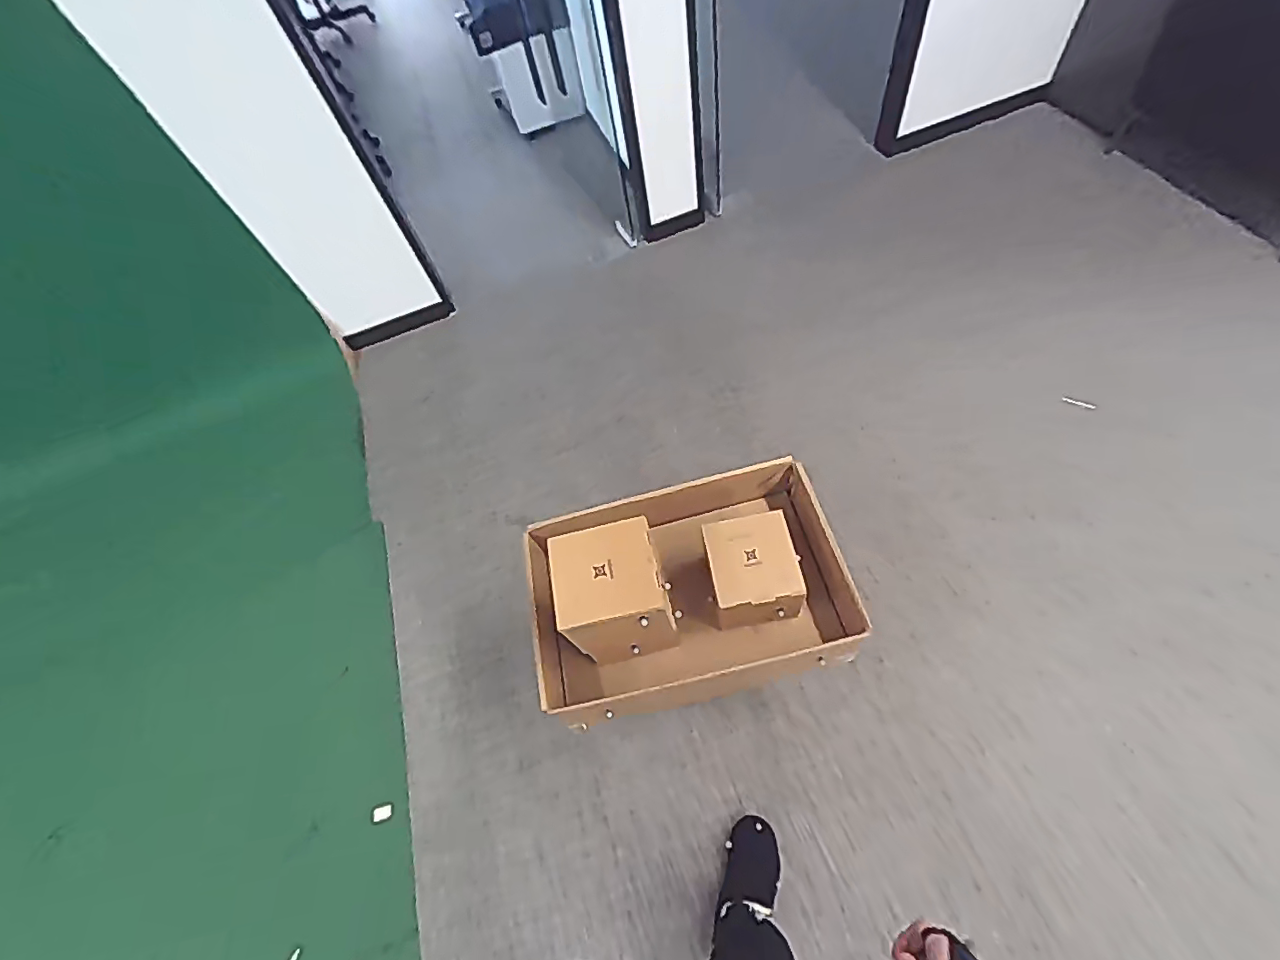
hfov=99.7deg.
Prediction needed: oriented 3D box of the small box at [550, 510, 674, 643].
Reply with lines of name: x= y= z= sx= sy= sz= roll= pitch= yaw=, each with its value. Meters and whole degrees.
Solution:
small box: x=-0.046 y=0.179 z=0.966 sx=0.179 sy=0.176 sz=0.168 roll=-14 pitch=59 yaw=2
